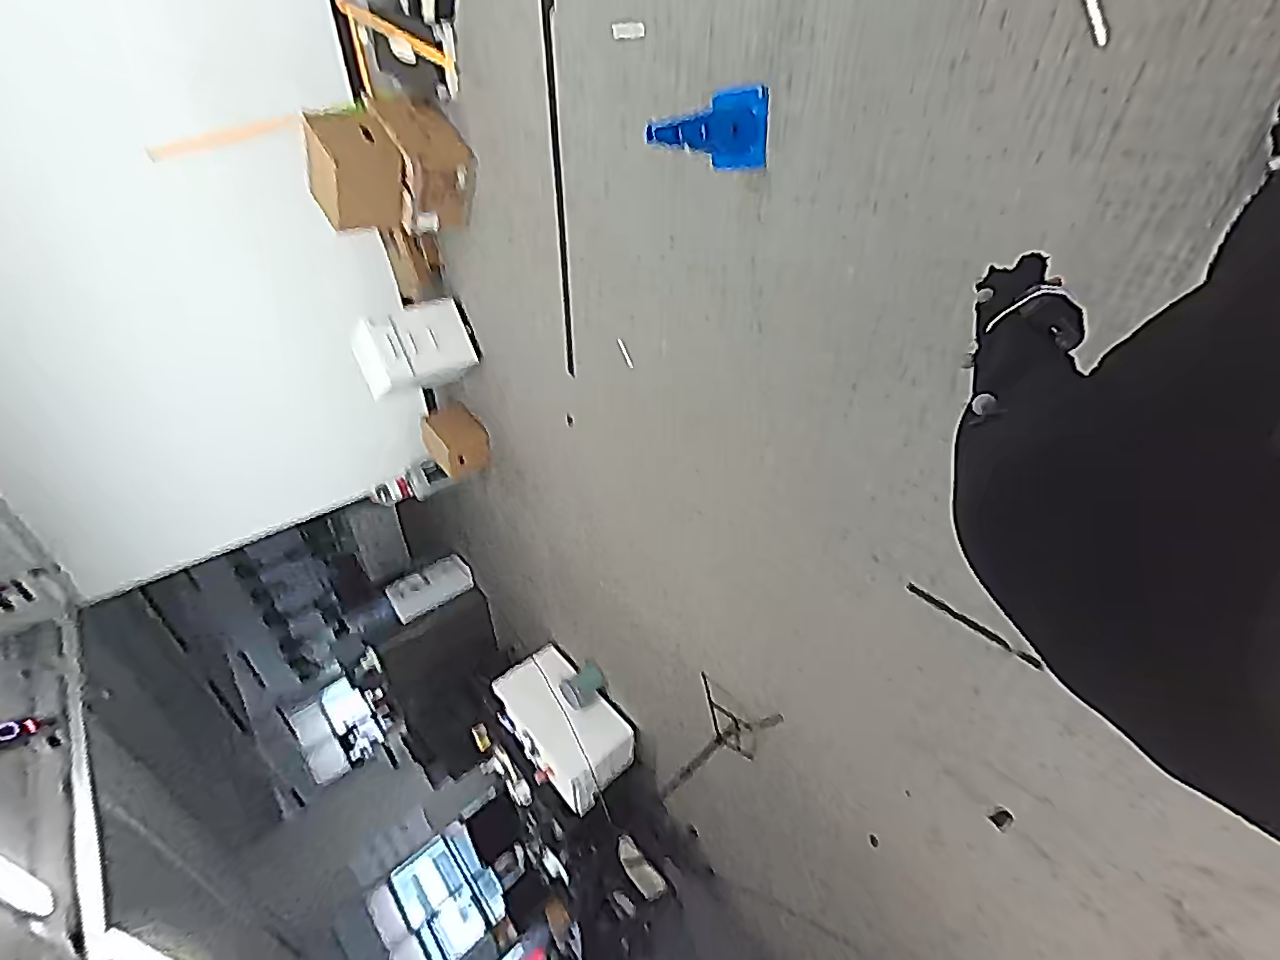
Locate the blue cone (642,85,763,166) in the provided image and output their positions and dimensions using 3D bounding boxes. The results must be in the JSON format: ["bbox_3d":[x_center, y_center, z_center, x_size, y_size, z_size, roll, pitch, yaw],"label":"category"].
[{"bbox_3d":[0.155,-0.958,1.473,0.193,0.380,0.192,29,133,40],"label":"blue cone"}]
